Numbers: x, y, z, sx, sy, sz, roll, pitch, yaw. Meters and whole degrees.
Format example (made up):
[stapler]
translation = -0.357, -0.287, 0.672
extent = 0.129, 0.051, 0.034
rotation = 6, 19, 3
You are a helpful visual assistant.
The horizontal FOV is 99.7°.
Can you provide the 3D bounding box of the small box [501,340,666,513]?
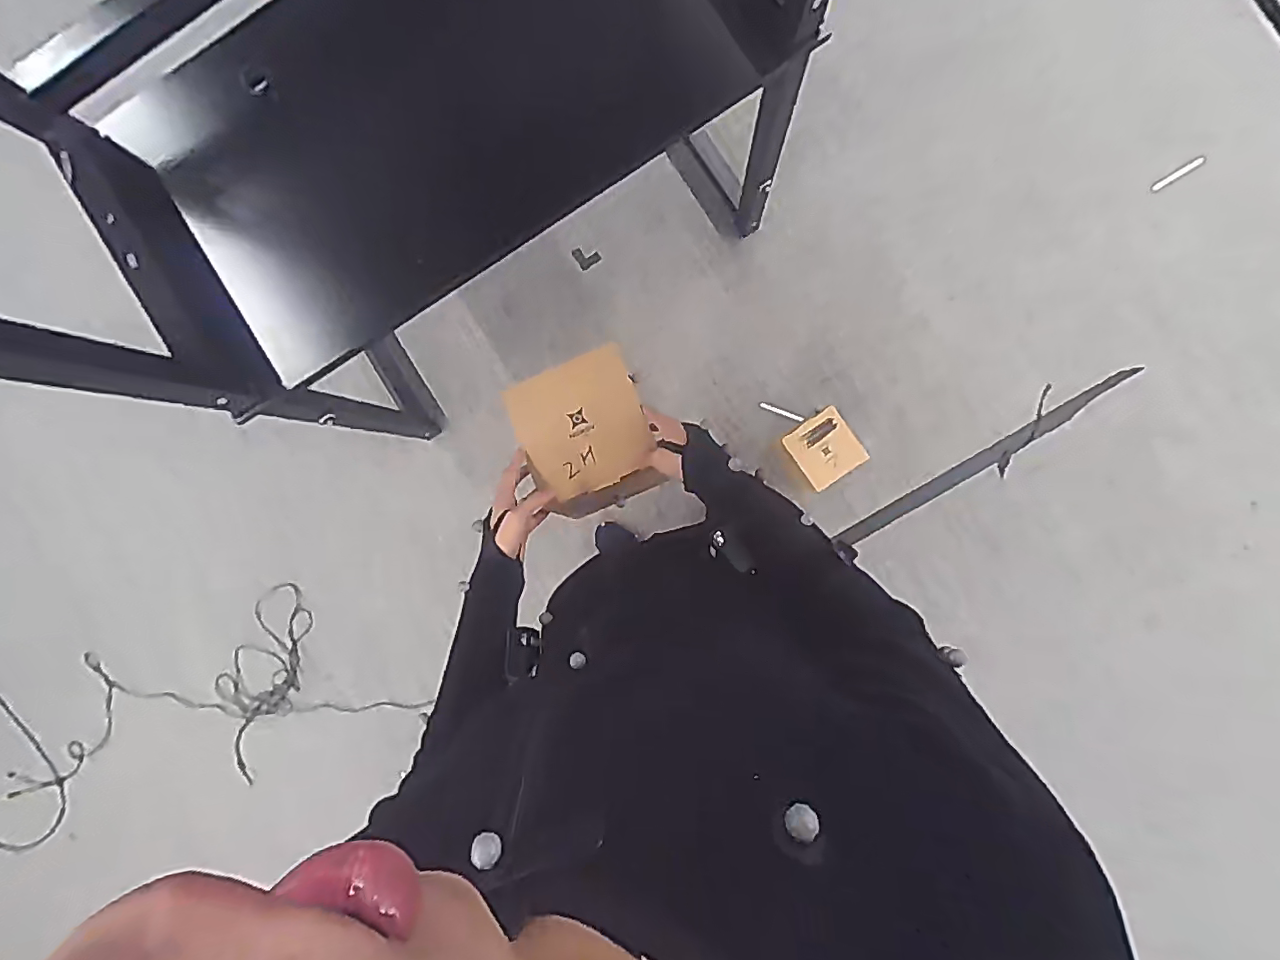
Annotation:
[small box]
translation = -0.071, -0.065, 0.772
extent = 0.168, 0.176, 0.179
rotation = -22, 80, 4
